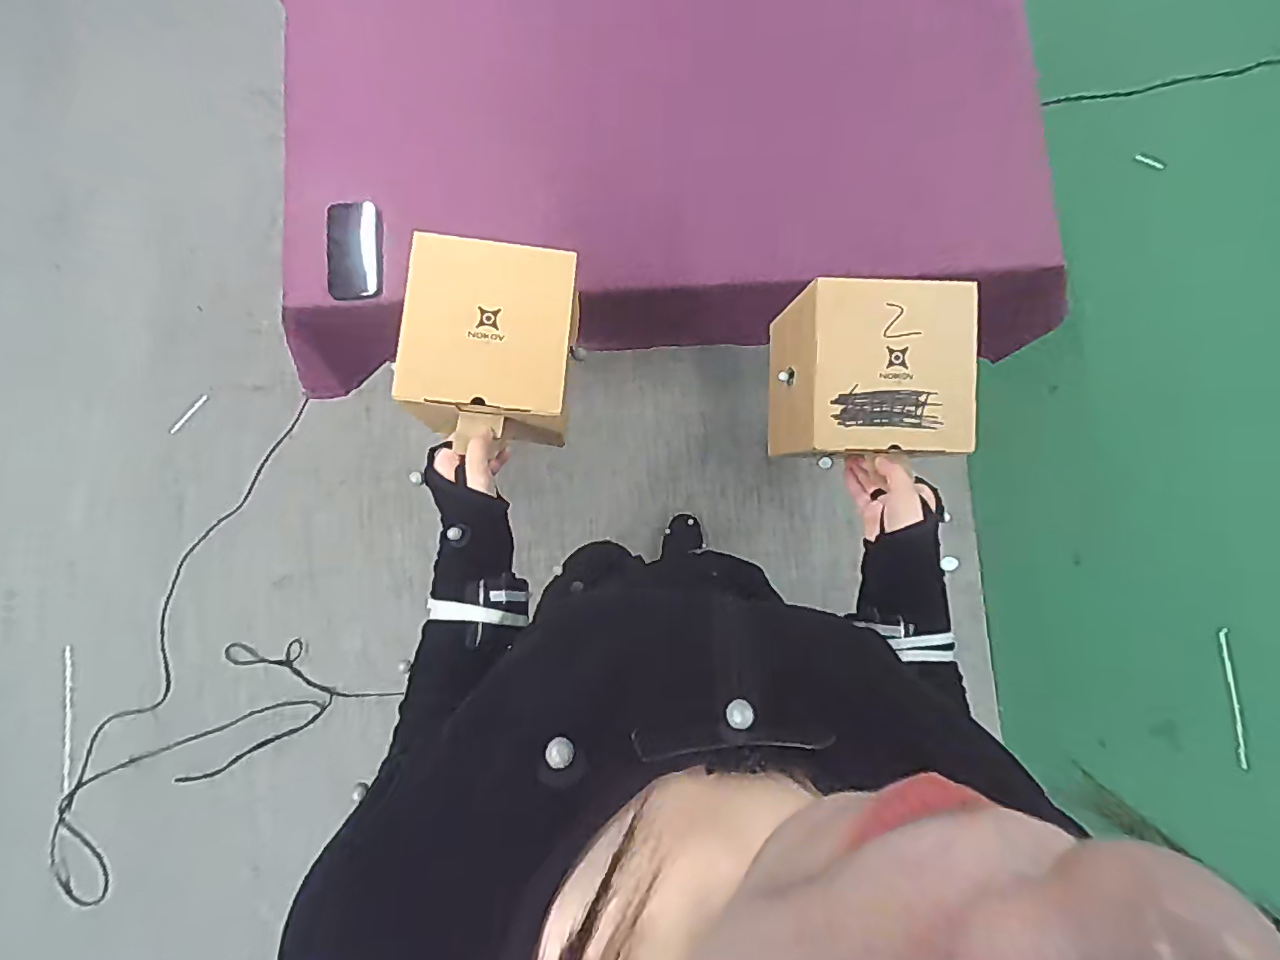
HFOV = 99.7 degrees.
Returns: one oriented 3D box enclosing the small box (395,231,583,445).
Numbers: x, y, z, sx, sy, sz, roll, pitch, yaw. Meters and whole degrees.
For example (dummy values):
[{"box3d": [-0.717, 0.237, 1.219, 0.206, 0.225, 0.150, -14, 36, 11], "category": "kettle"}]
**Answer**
[{"box3d": [-0.158, -0.146, 0.616, 0.168, 0.176, 0.179, 6, 84, -6], "category": "small box"}]
